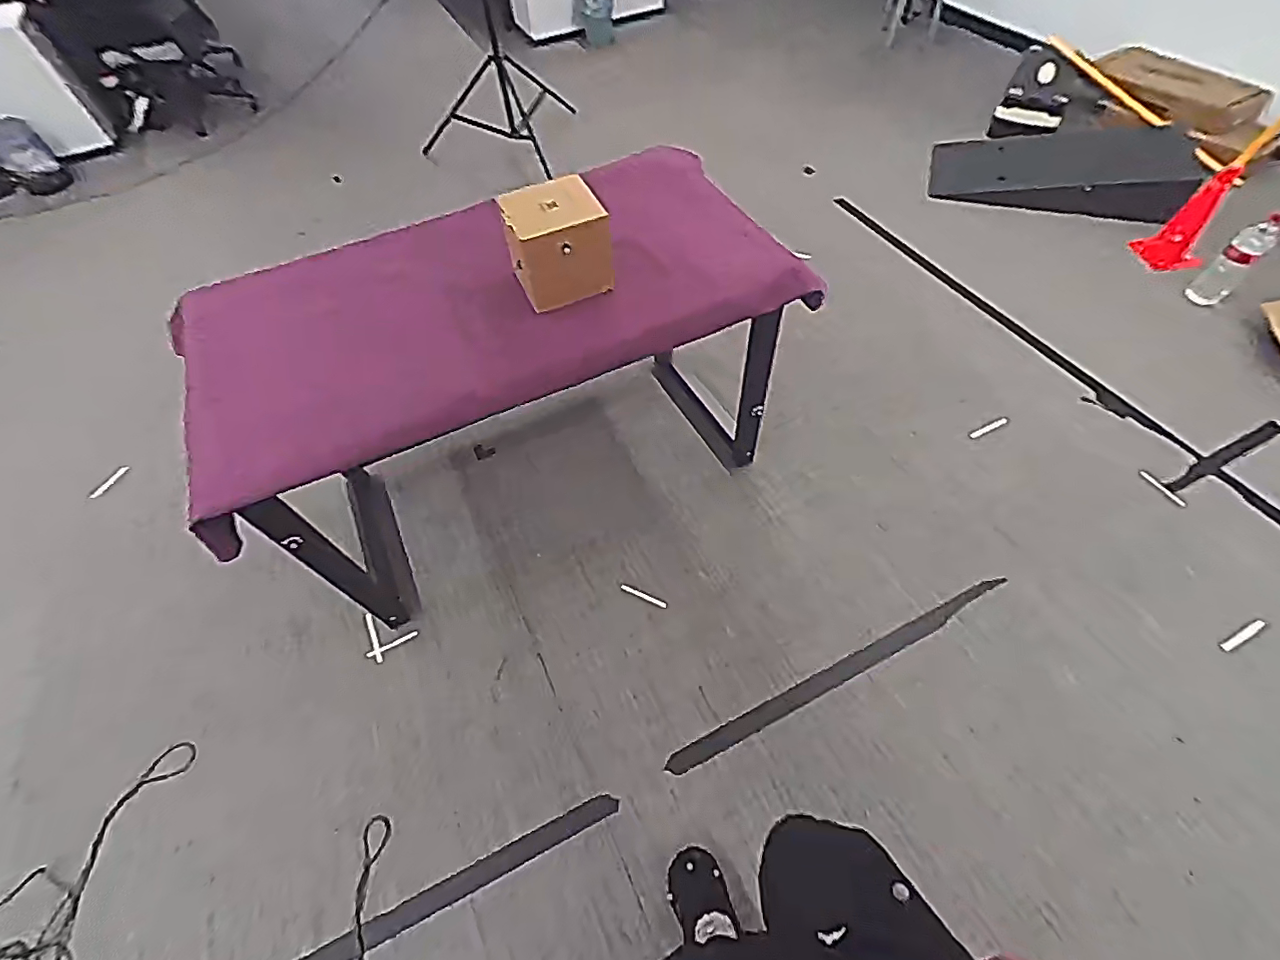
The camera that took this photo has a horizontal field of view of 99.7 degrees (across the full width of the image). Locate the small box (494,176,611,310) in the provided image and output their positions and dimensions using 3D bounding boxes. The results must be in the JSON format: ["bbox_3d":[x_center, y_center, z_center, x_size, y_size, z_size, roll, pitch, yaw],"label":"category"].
[{"bbox_3d":[-0.170,-0.472,1.090,0.179,0.176,0.168,-22,59,-12],"label":"small box"}]
